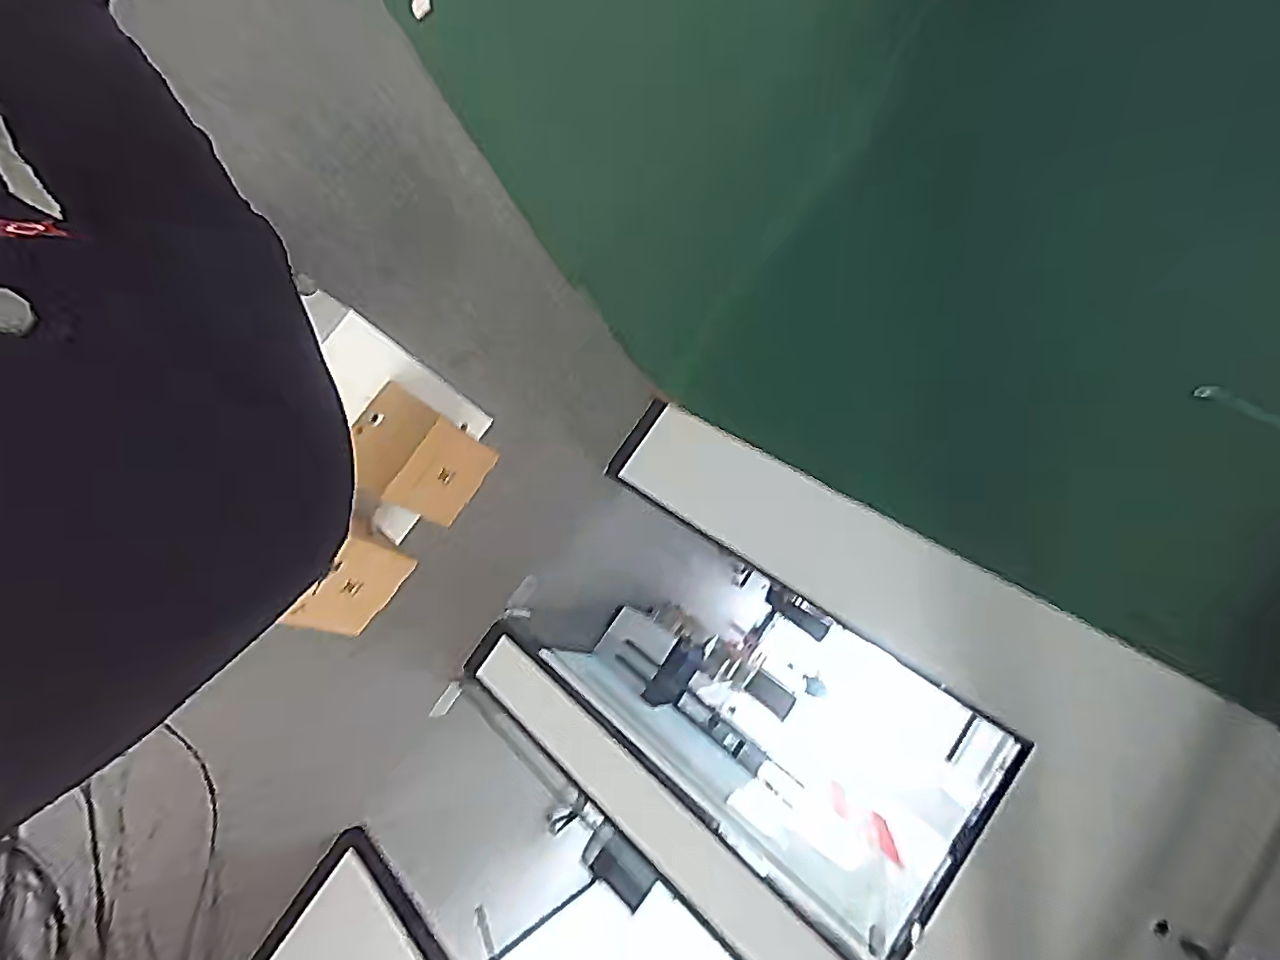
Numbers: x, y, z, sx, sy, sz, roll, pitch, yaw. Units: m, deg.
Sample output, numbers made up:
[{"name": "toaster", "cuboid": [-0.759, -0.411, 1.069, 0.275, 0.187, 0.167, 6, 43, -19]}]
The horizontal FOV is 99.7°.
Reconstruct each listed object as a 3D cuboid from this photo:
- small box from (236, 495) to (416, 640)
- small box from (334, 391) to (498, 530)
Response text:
[{"name": "small box", "cuboid": [-0.540, 0.151, 0.940, 0.168, 0.176, 0.179, -53, 152, -10]}, {"name": "small box", "cuboid": [-0.402, -0.036, 0.980, 0.168, 0.176, 0.179, -56, 151, -5]}]
